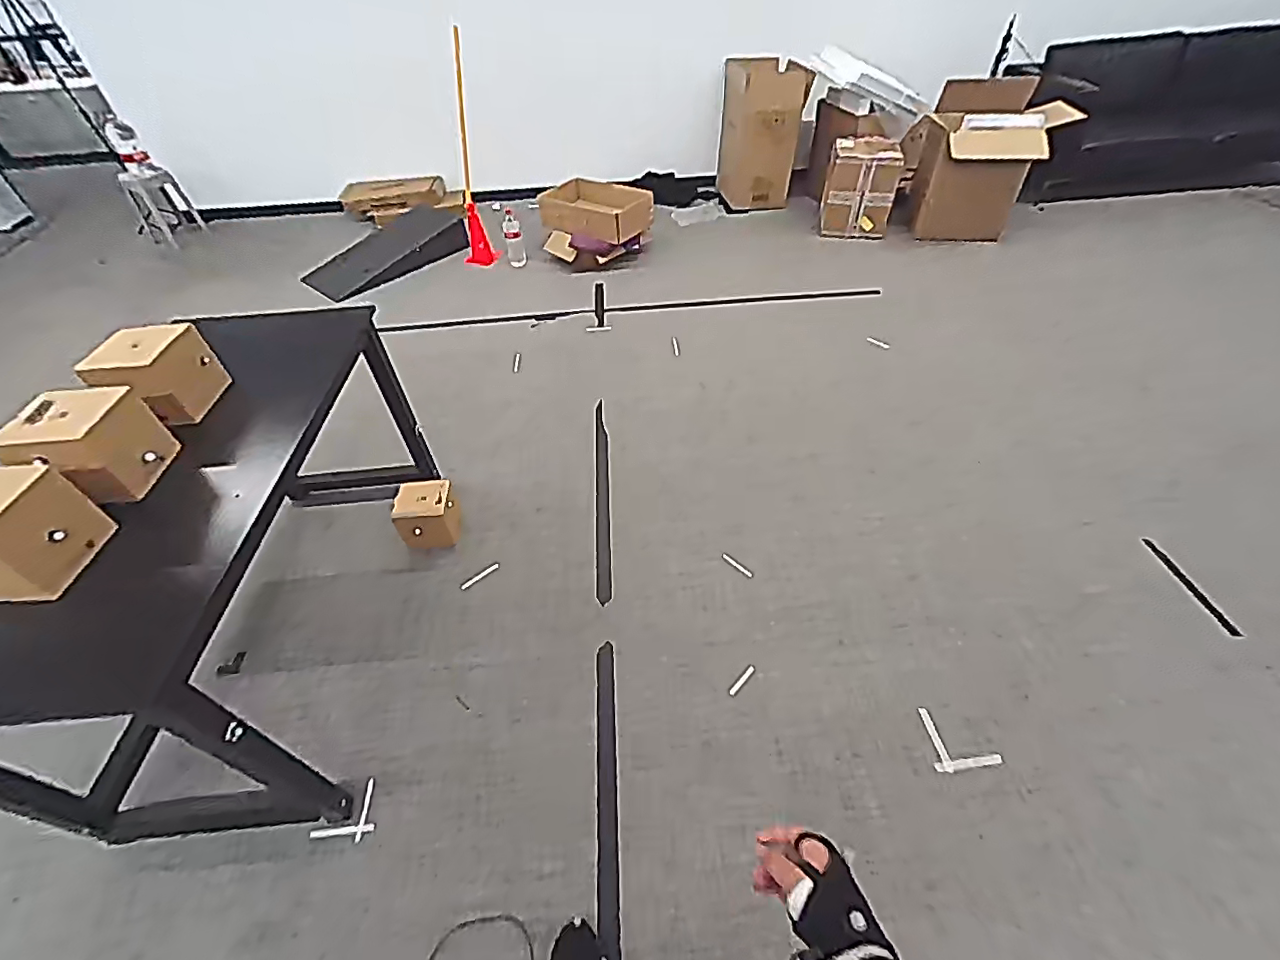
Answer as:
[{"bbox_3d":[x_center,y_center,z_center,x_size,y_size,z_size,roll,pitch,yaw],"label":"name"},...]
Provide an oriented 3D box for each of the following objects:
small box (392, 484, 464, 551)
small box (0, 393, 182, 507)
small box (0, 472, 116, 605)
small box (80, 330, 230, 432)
[{"bbox_3d":[-0.741,0.136,1.907,0.179,0.176,0.168,-6,46,-1],"label":"small box"},{"bbox_3d":[-1.098,-0.055,1.092,0.179,0.176,0.168,-5,45,-3],"label":"small box"},{"bbox_3d":[-1.088,0.104,0.934,0.179,0.176,0.168,-3,45,1],"label":"small box"},{"bbox_3d":[-1.117,-0.230,1.269,0.168,0.176,0.179,-6,46,0],"label":"small box"}]
